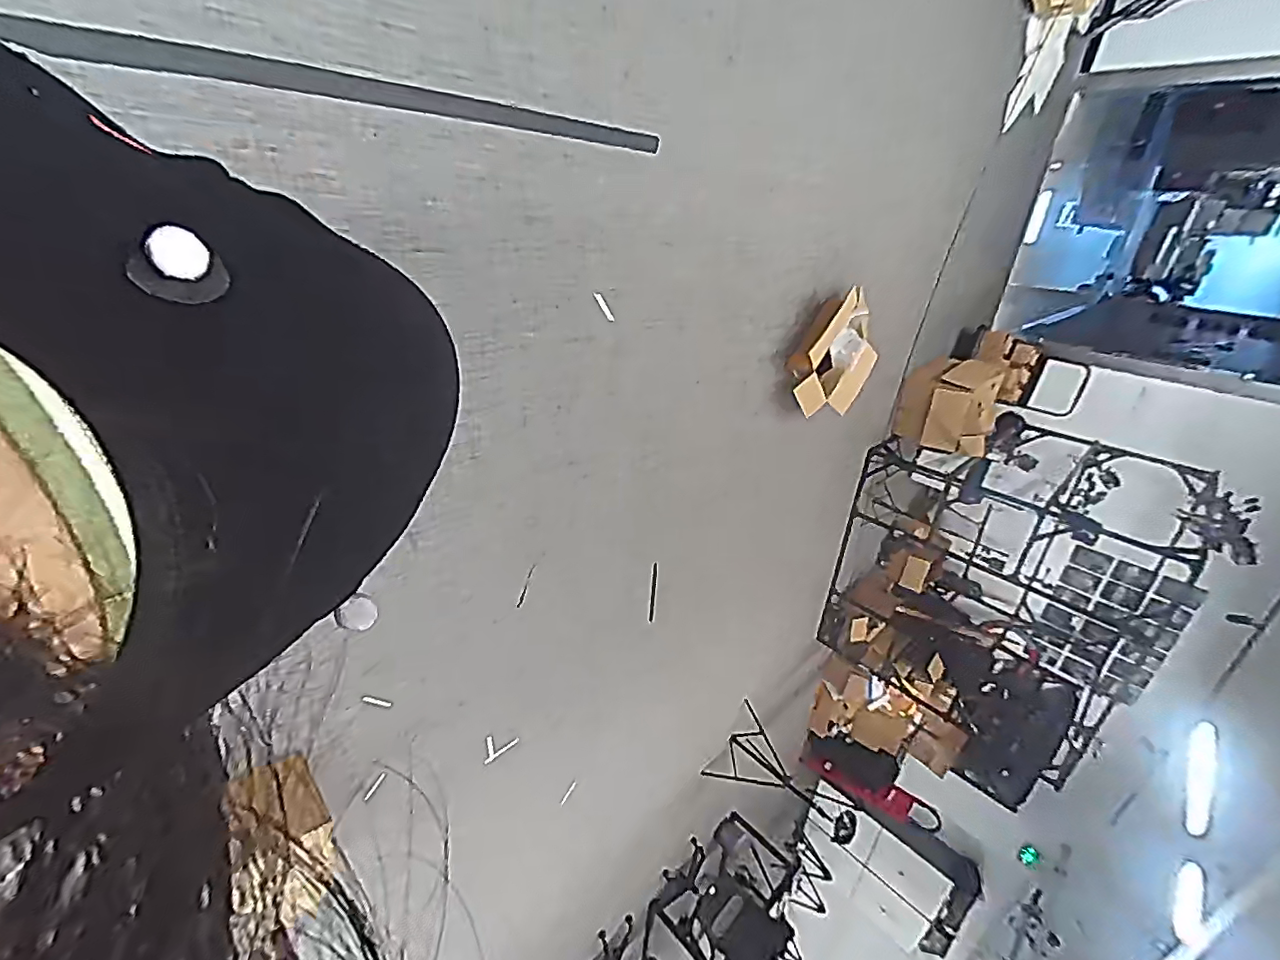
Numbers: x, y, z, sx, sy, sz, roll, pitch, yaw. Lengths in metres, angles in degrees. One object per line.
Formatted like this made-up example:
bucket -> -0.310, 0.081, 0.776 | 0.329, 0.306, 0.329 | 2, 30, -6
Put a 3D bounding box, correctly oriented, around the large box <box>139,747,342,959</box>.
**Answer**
large box -> -1.135, 1.074, 1.560 | 0.408, 0.320, 0.320 | -13, 120, -45
